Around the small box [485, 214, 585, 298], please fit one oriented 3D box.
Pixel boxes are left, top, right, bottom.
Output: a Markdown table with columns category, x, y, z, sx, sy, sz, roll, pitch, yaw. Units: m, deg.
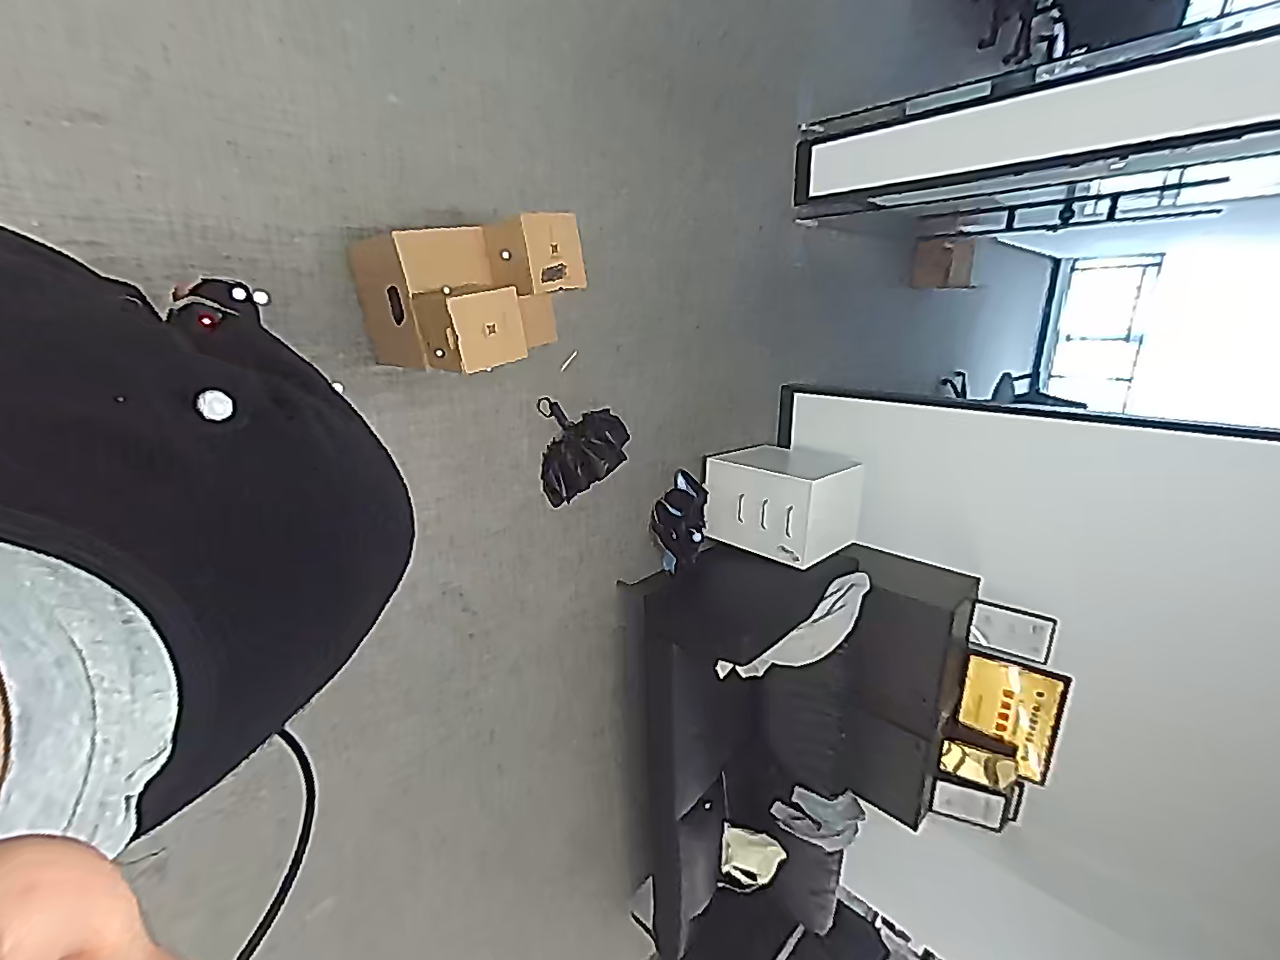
| category | x | y | z | sx | sy | sz | roll | pitch | yaw |
| --- | --- | --- | --- | --- | --- | --- | --- | --- | --- |
| small box | -0.261 | -0.552 | 1.343 | 0.168 | 0.176 | 0.179 | -25 | 115 | -40 |

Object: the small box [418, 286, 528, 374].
| category | x | y | z | sx | sy | sz | roll | pitch | yaw |
| --- | --- | --- | --- | --- | --- | --- | --- | --- | --- |
| small box | -0.393 | -0.354 | 1.262 | 0.179 | 0.176 | 0.168 | -30 | 125 | -39 |
